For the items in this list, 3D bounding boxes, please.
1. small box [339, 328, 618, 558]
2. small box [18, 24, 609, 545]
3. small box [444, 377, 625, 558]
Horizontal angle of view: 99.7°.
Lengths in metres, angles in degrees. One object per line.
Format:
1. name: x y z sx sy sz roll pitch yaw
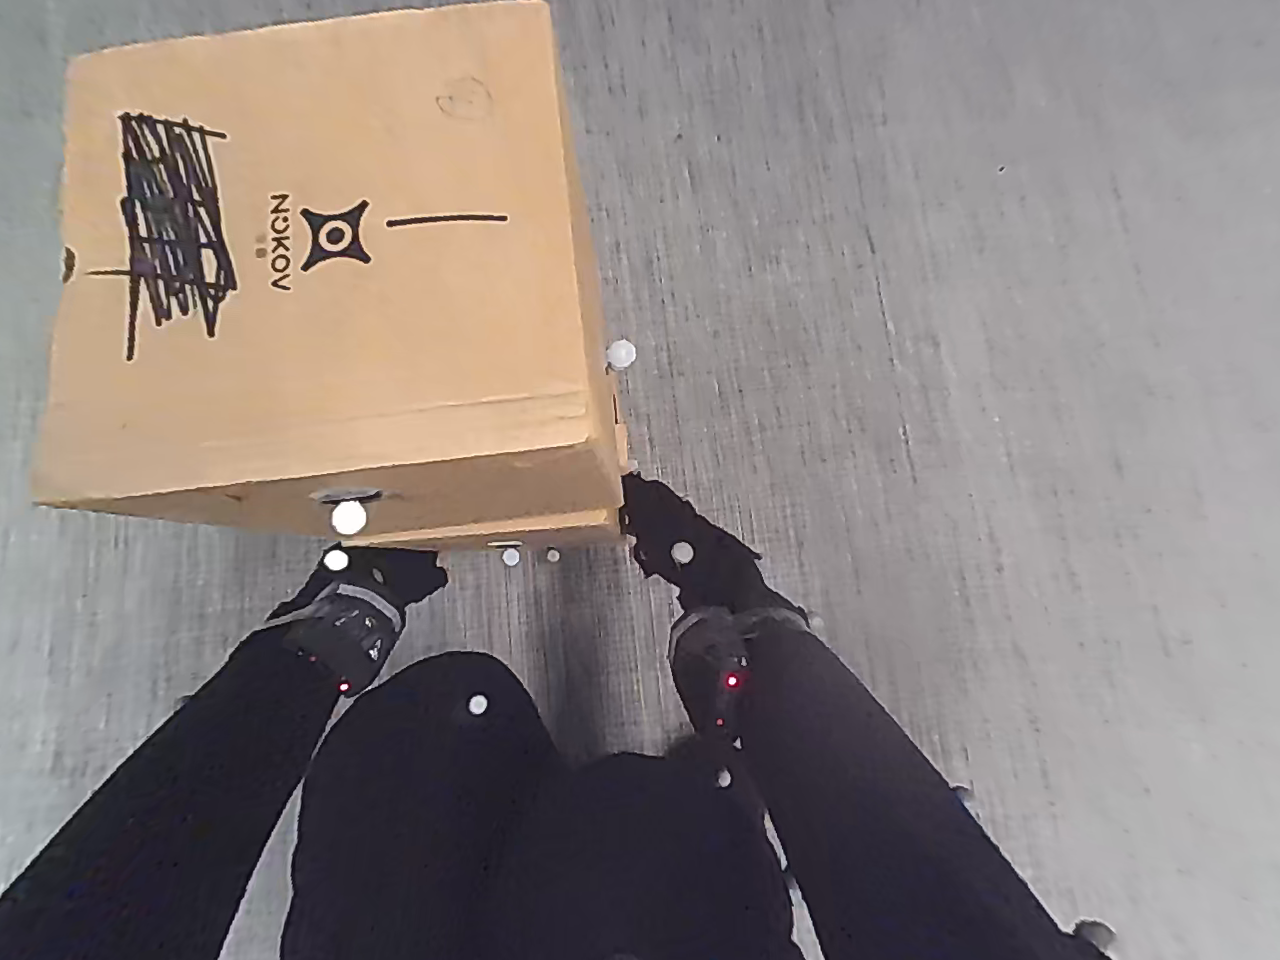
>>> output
1. small box: -0.109 -0.032 0.424 0.168 0.176 0.179 -5 82 2
2. small box: -0.116 -0.061 0.262 0.179 0.176 0.168 -7 80 1
3. small box: -0.107 -0.003 0.584 0.179 0.176 0.168 -4 80 1
